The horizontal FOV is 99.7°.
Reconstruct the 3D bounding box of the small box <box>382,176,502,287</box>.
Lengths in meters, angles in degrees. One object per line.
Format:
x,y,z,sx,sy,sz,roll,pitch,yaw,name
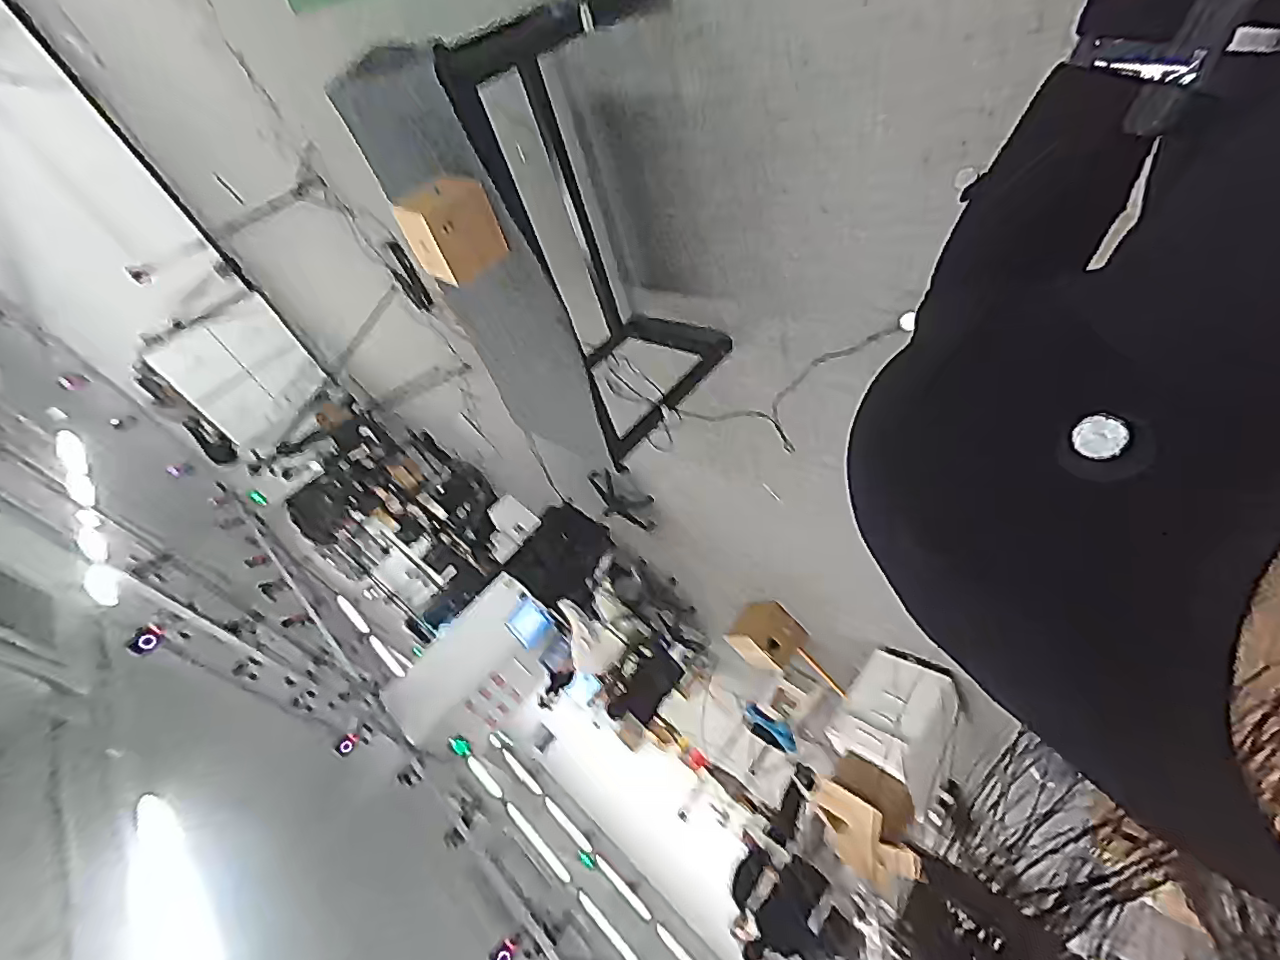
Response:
-0.468,-0.602,1.298,0.168,0.176,0.179,30,155,33,small box
